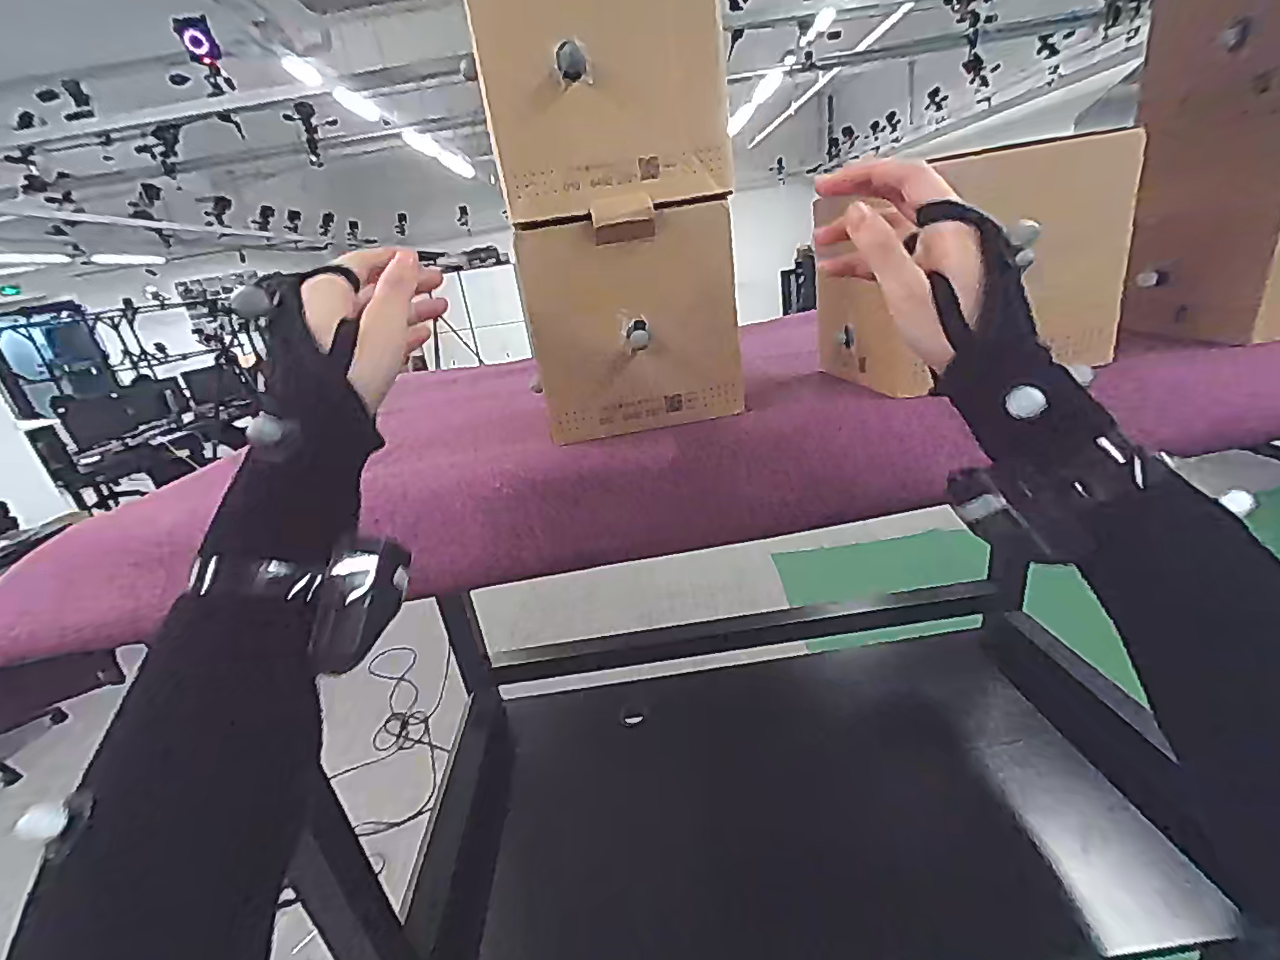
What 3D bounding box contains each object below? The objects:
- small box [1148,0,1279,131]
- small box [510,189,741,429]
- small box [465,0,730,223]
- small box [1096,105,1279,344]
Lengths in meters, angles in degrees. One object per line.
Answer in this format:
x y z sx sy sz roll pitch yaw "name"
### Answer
0.524 -0.367 0.383 0.179 0.176 0.168 -9 21 1 "small box"
-0.011 -0.151 0.498 0.168 0.176 0.179 -10 21 -3 "small box"
-0.033 -0.301 0.437 0.168 0.176 0.179 -11 19 -5 "small box"
0.546 -0.224 0.463 0.179 0.176 0.168 -10 21 2 "small box"
